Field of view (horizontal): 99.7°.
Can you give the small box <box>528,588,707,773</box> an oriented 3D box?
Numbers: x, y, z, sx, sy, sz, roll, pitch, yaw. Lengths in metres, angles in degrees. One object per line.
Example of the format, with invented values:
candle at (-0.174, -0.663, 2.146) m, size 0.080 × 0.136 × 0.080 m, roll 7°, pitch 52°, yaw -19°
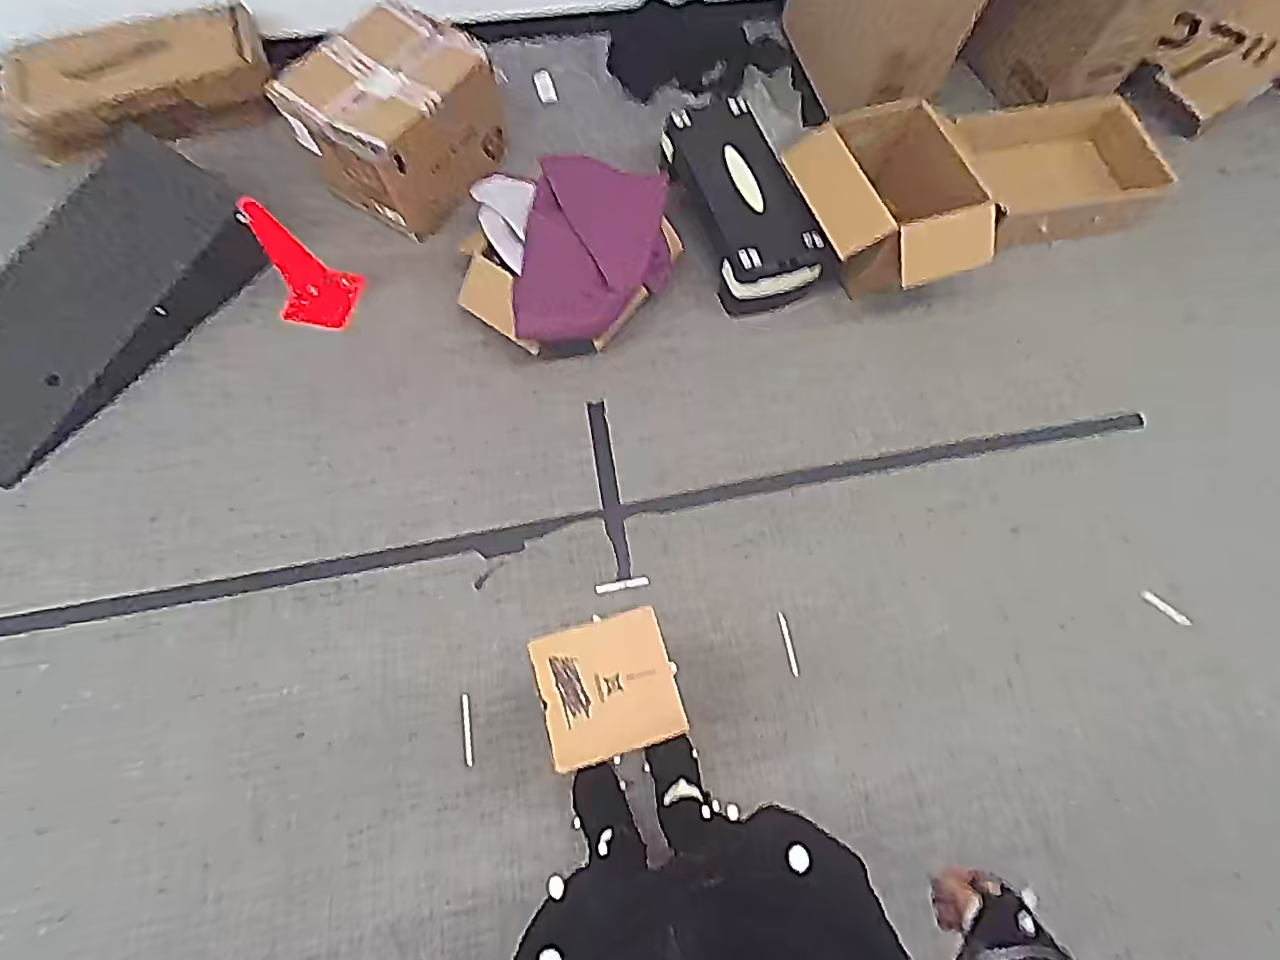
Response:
small box at (-0.030, 0.253, 0.695) m, size 0.179 × 0.176 × 0.168 m, roll -15°, pitch 72°, yaw -8°
